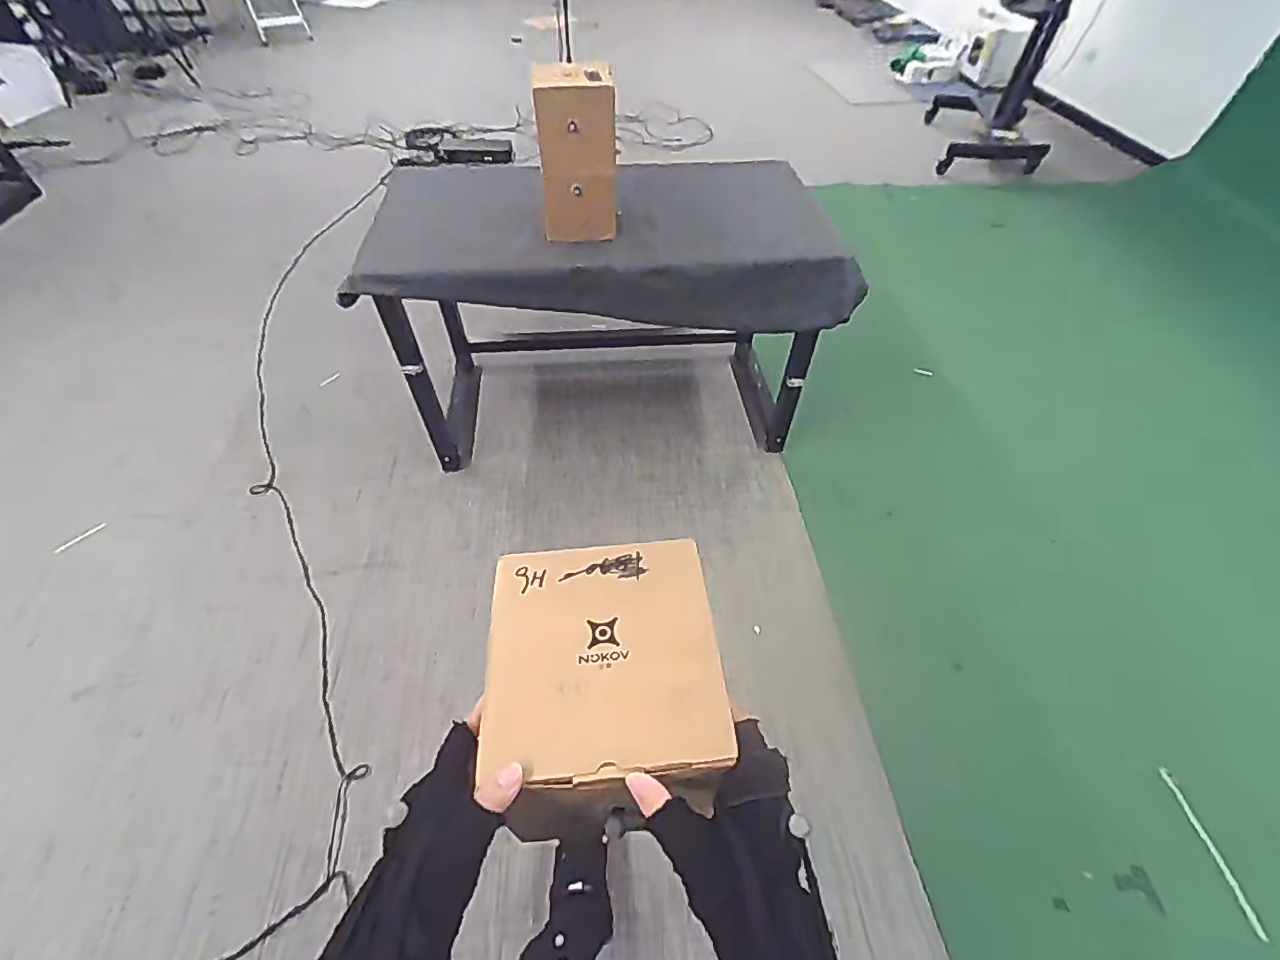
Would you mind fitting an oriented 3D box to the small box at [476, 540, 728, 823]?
[{"bbox_3d":[-0.028,0.174,0.456,0.168,0.176,0.179,-5,49,-3],"label":"small box"}]

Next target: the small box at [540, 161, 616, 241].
[{"bbox_3d":[-0.151,-0.719,1.357,0.179,0.176,0.168,-2,52,-5],"label":"small box"}]

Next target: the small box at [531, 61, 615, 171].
[{"bbox_3d":[-0.147,-0.825,1.232,0.179,0.176,0.168,-5,52,-4],"label":"small box"}]
